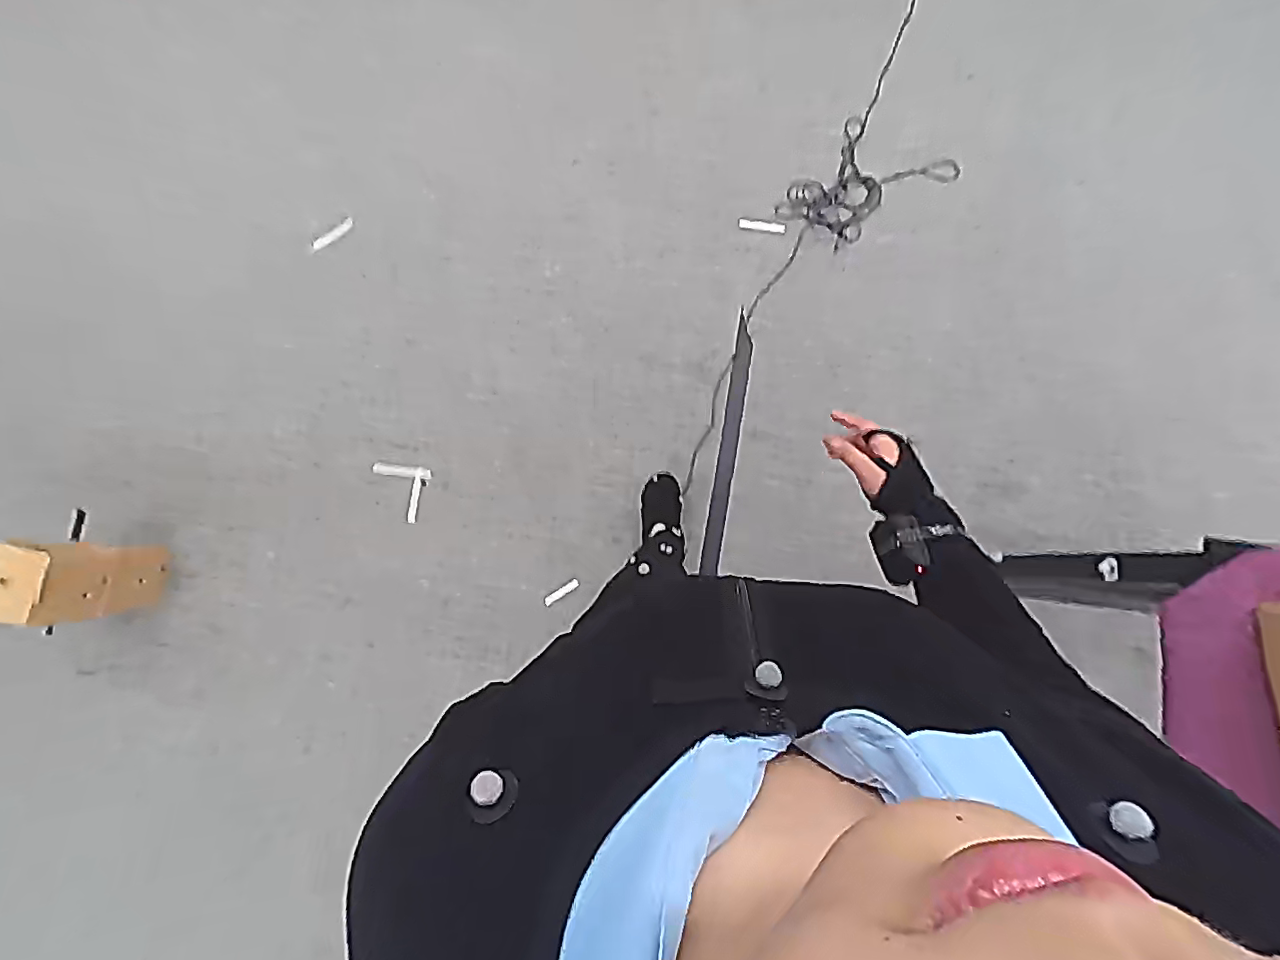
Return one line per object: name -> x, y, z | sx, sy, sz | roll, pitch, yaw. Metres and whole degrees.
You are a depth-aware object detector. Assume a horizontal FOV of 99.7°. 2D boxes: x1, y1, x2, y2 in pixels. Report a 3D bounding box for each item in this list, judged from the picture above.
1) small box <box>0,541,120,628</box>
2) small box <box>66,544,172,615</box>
small box -> -1.448, 0.250, 1.314 | 0.179, 0.176, 0.168 | 13, 83, 4
small box -> -1.443, 0.266, 1.477 | 0.179, 0.176, 0.168 | 7, 82, 4
